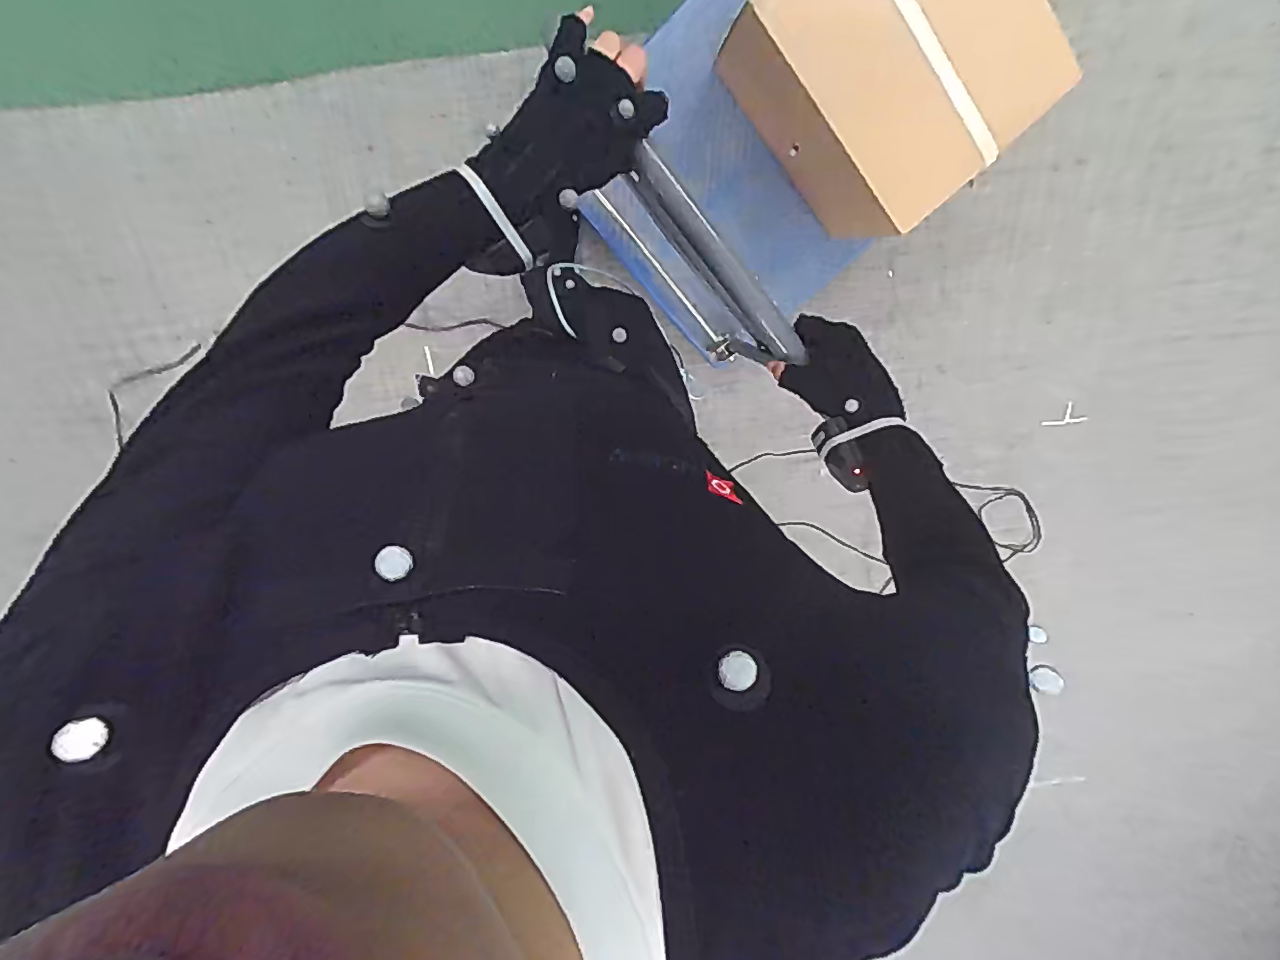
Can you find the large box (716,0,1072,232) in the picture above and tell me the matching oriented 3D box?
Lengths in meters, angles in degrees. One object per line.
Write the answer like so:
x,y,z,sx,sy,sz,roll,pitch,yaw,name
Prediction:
0.388,-0.687,0.907,0.320,0.320,0.408,-41,108,14,large box
